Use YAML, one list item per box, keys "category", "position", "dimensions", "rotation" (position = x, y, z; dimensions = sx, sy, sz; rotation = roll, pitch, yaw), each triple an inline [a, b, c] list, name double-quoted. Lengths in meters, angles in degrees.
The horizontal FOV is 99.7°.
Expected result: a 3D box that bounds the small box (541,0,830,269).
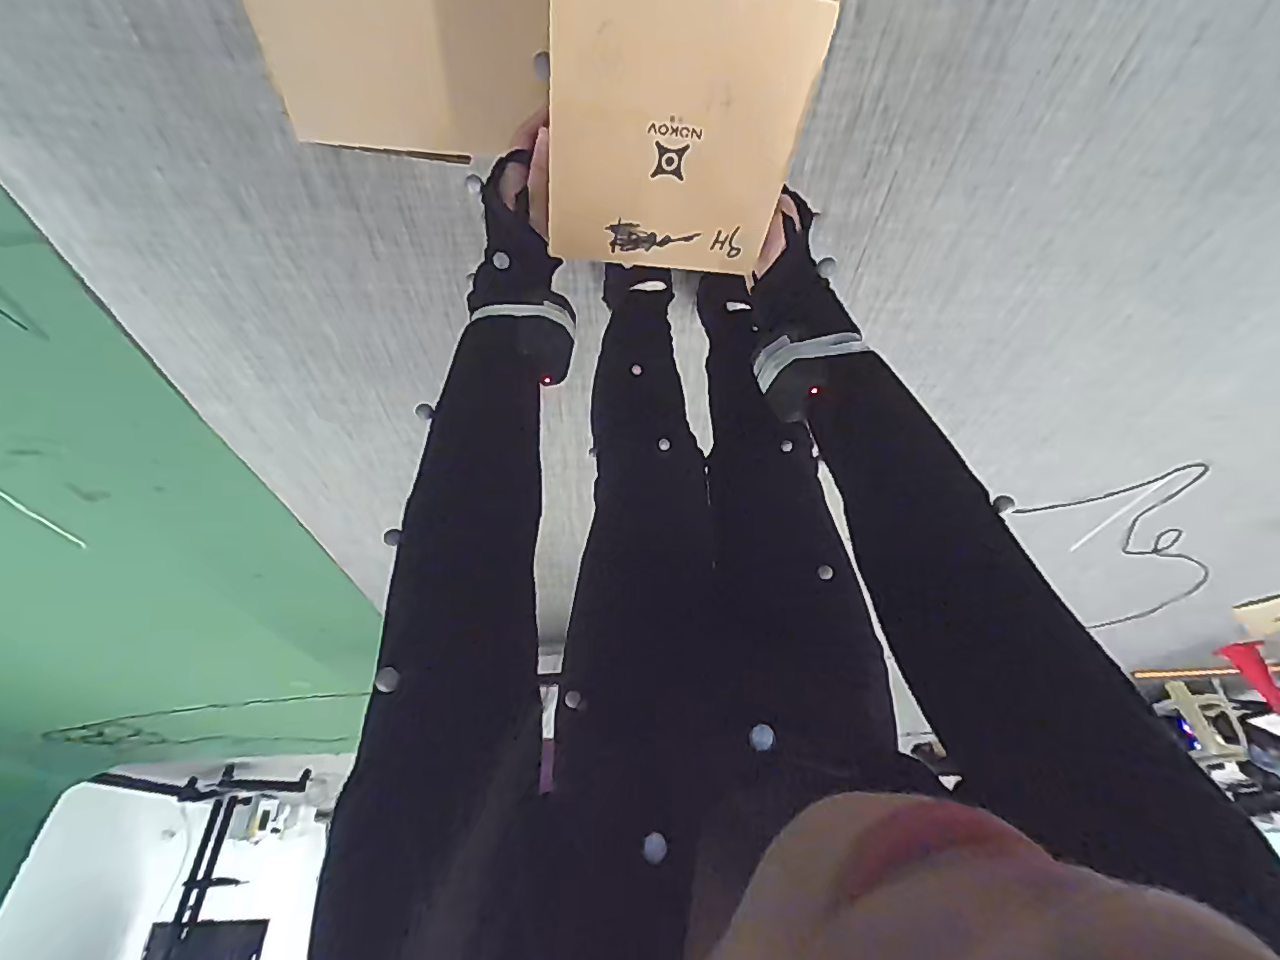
- category: "small box"
  position: [0.011, -0.289, 0.407]
  dimensions: [0.168, 0.176, 0.179]
  rotation: [2, 141, -9]
